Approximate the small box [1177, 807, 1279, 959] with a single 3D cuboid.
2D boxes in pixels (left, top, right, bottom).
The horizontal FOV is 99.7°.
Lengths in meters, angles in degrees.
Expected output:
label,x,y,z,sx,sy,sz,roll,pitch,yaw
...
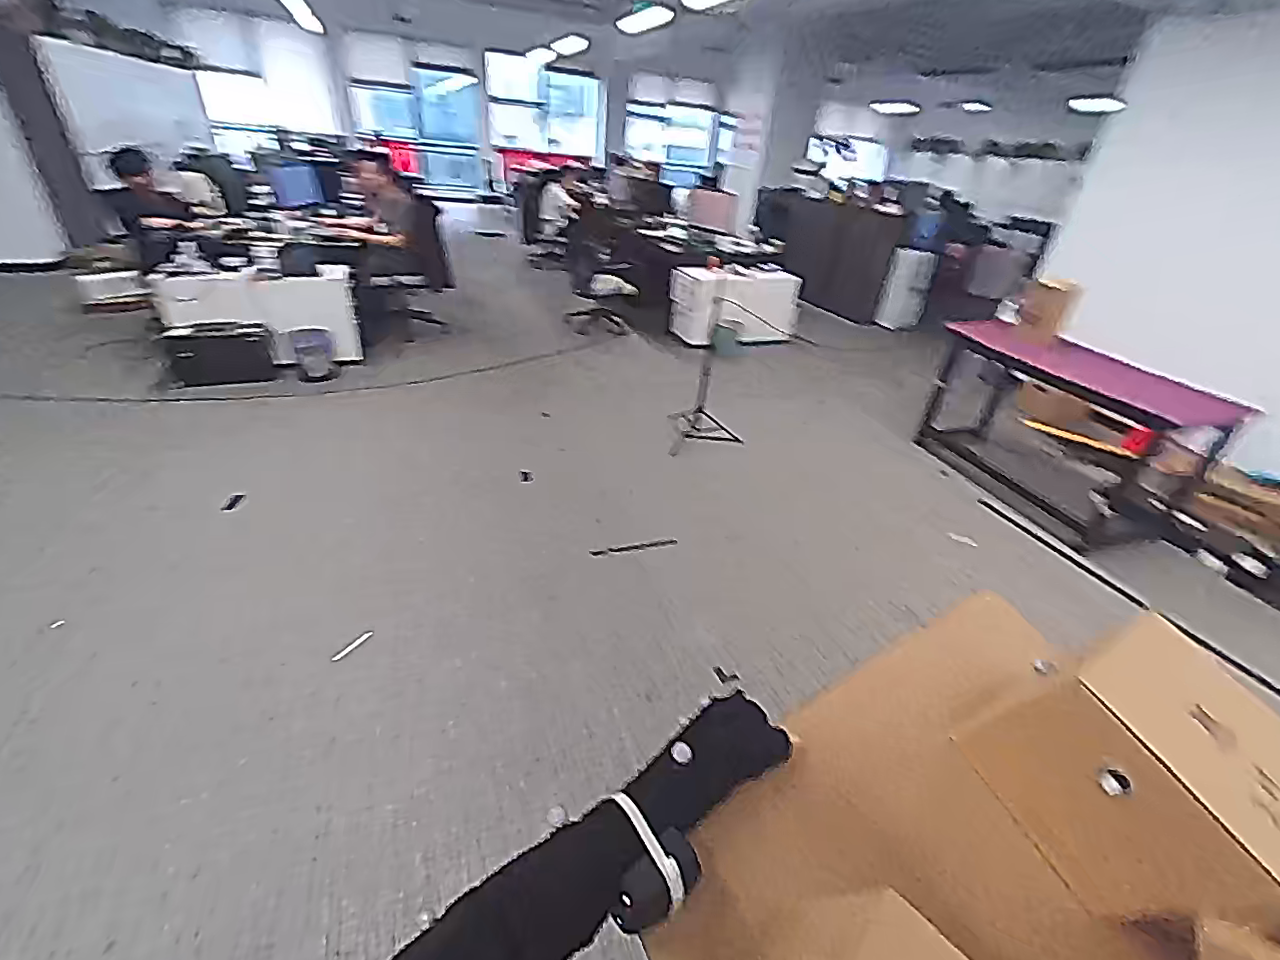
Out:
label,x,y,z,sx,sy,sz,roll,pitch,yaw
small box,0.540,0.396,0.392,0.179,0.176,0.168,-14,7,-28
